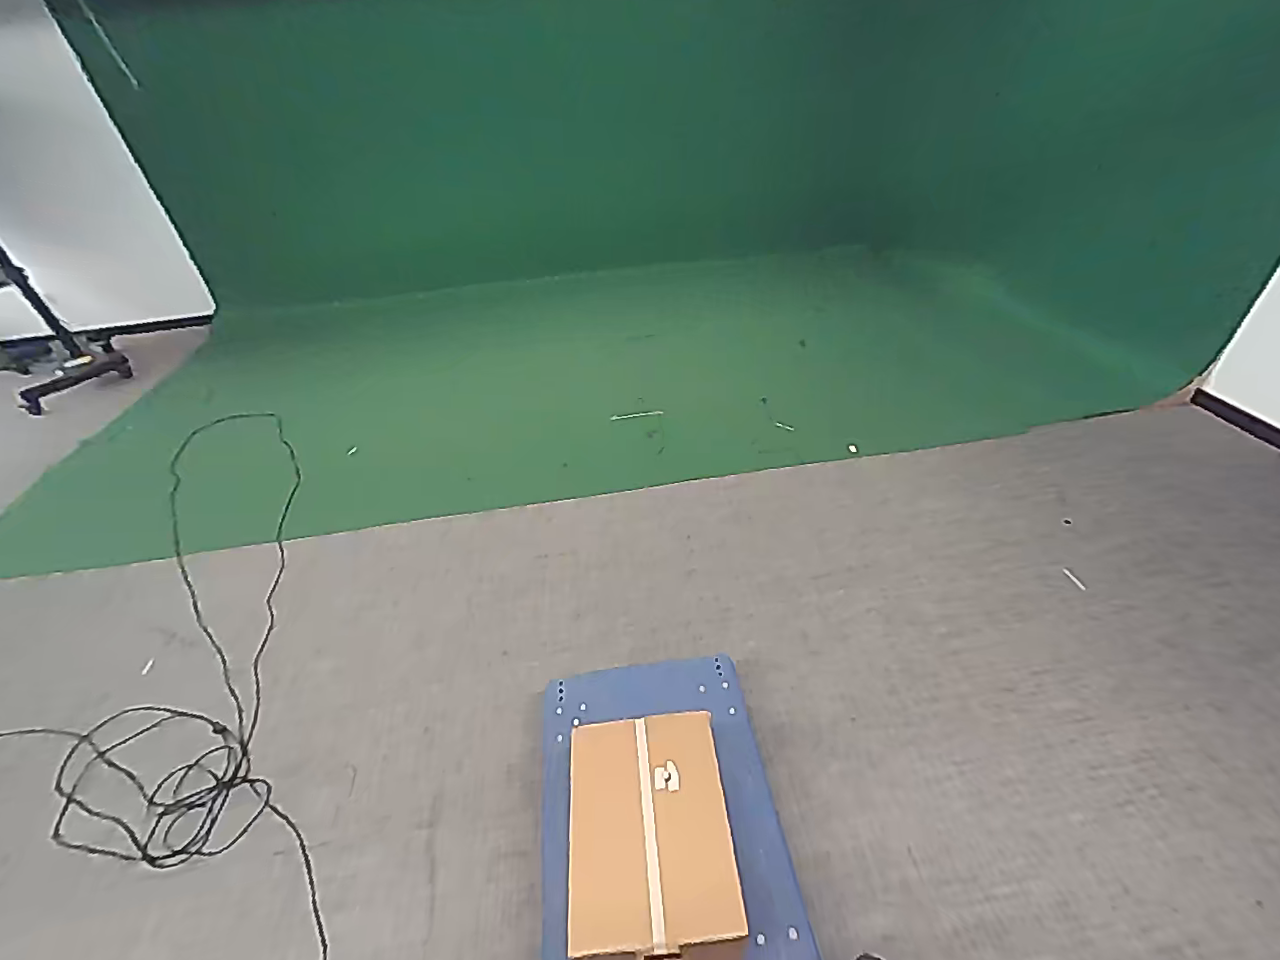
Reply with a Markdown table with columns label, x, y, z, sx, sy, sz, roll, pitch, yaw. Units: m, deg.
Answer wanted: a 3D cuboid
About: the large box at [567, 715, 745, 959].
| label | x | y | z | sx | sy | sz | roll | pitch | yaw |
| --- | --- | --- | --- | --- | --- | --- | --- | --- | --- |
| large box | 0.025 | 0.789 | 1.162 | 0.320 | 0.320 | 0.408 | -6 | 38 | -1 |
